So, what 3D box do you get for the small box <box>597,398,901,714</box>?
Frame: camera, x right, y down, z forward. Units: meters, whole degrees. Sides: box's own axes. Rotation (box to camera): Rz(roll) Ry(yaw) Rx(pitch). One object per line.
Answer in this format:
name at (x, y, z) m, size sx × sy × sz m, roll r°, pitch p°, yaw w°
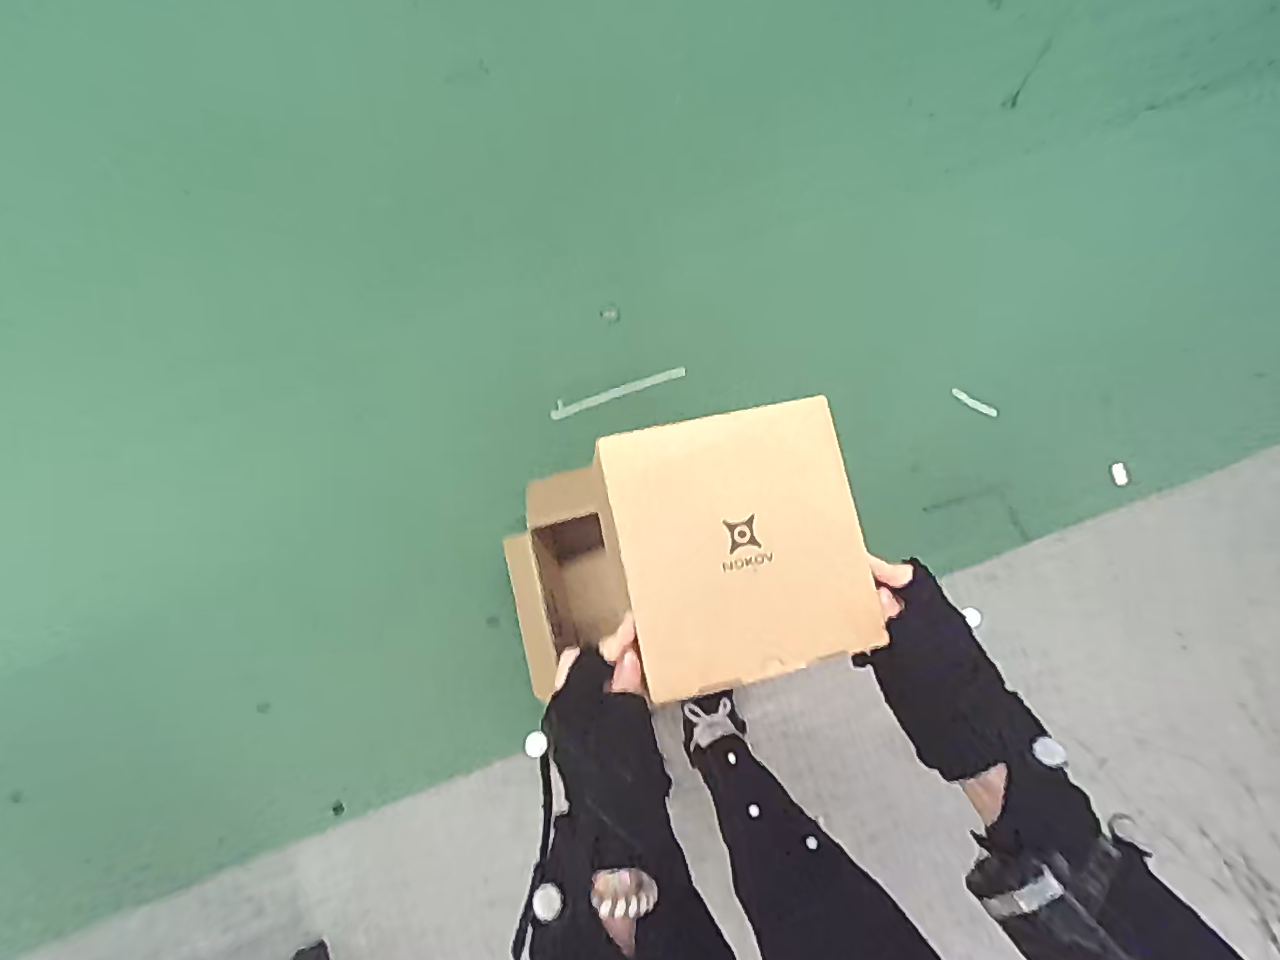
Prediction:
small box at (0.063, 0.055, 0.424) m, size 0.168 × 0.176 × 0.179 m, roll -12°, pitch 84°, yaw -7°
